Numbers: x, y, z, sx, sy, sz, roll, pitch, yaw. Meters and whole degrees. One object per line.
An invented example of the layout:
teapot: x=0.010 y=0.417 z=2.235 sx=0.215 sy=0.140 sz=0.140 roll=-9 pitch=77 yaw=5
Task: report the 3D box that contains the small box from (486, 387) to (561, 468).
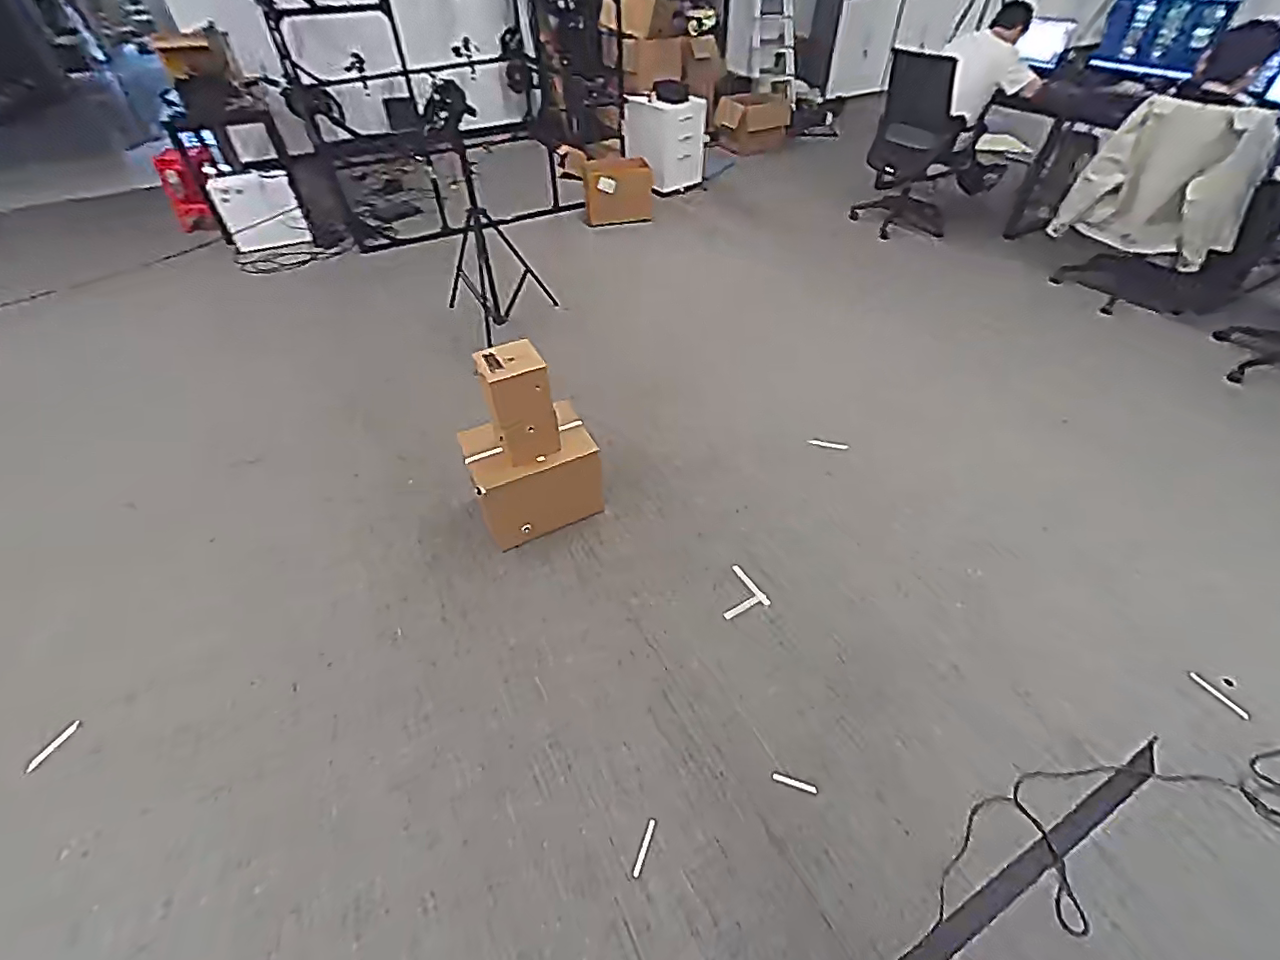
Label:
small box: x=-0.370 y=-0.166 z=1.736 sx=0.179 sy=0.176 sz=0.168 roll=-23 pitch=51 yaw=-21
